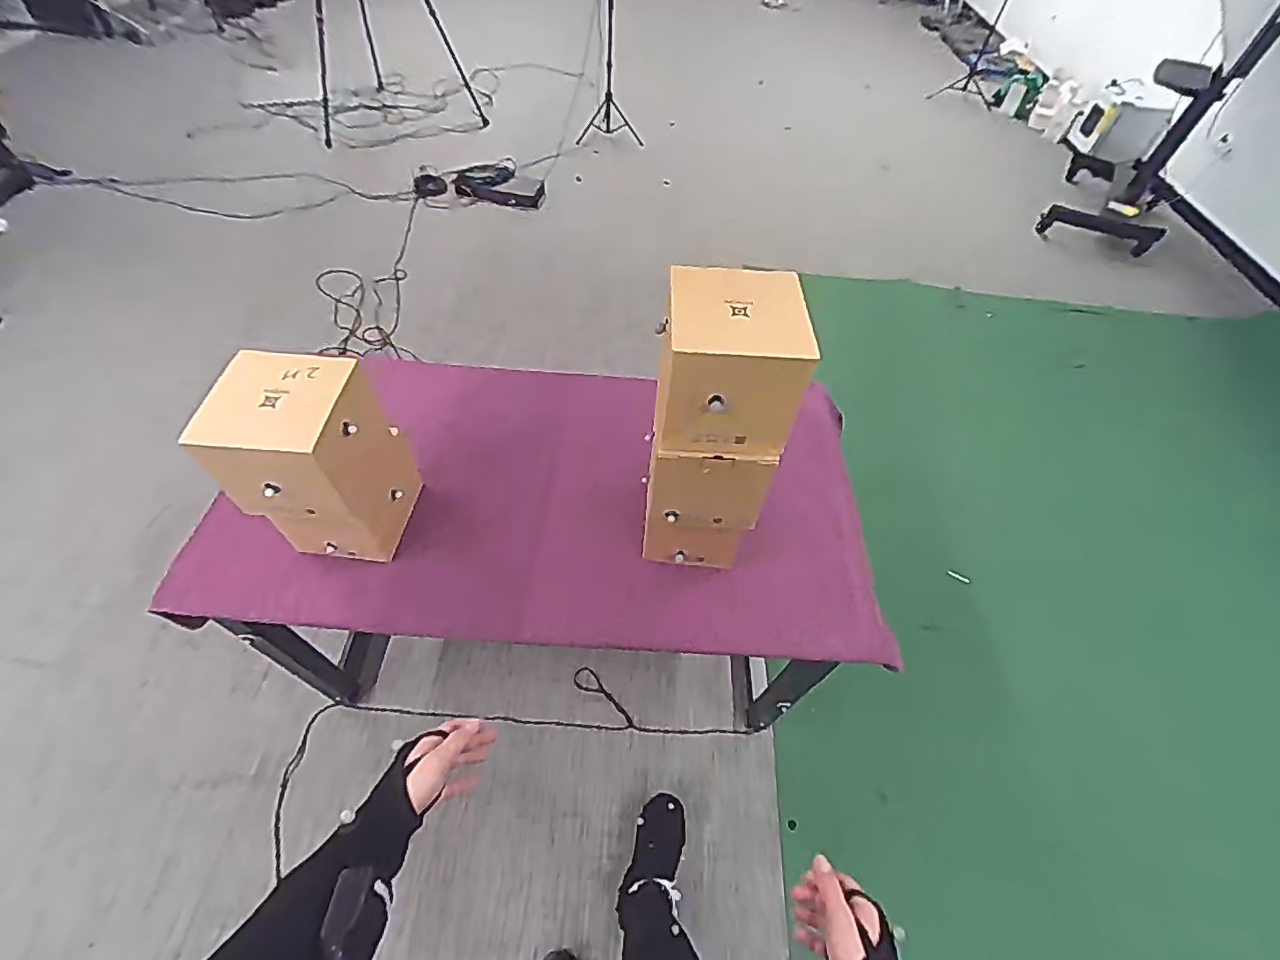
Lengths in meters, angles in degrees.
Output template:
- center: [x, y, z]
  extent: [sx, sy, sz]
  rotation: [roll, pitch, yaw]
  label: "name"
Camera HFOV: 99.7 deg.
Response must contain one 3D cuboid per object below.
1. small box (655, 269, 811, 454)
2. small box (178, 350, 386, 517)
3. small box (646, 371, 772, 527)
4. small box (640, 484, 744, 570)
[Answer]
- center: [0.108, -0.150, 0.705]
  extent: [0.168, 0.176, 0.179]
  rotation: [3, 52, -1]
  label: "small box"
- center: [-0.496, -0.062, 0.786]
  extent: [0.168, 0.176, 0.179]
  rotation: [5, 54, -2]
  label: "small box"
- center: [0.097, -0.044, 0.828]
  extent: [0.168, 0.176, 0.179]
  rotation: [4, 52, 0]
  label: "small box"
- center: [0.090, 0.039, 0.970]
  extent: [0.168, 0.176, 0.179]
  rotation: [6, 53, 1]
  label: "small box"
